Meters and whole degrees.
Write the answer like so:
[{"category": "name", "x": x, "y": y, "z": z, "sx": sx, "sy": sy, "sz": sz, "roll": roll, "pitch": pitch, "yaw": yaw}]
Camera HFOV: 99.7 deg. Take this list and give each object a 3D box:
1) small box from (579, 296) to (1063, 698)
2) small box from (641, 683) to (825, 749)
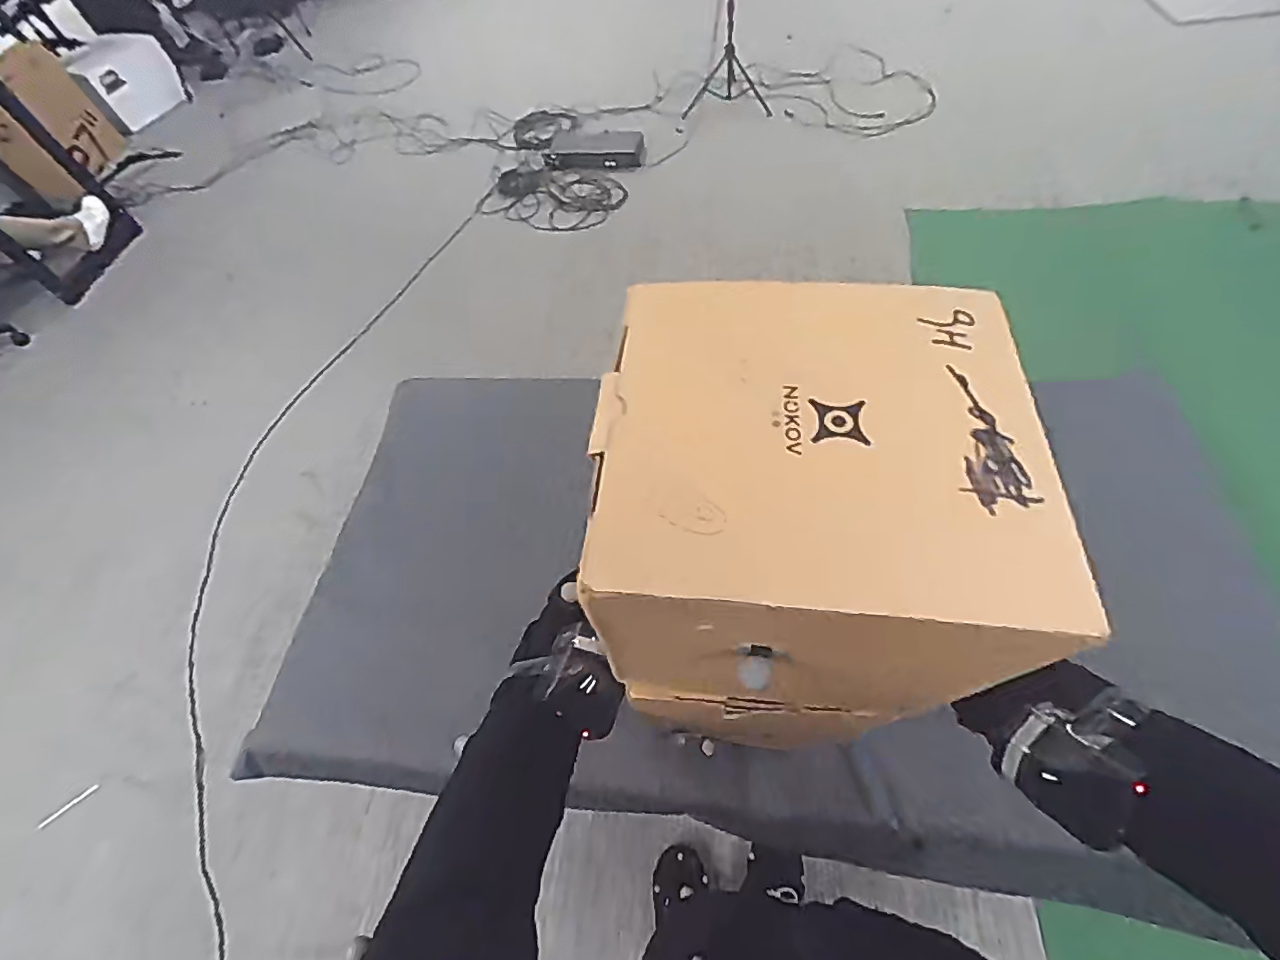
[{"category": "small box", "x": 0.073, "y": 0.018, "z": 0.305, "sx": 0.179, "sy": 0.176, "sz": 0.168, "roll": 1, "pitch": 57, "yaw": 5}, {"category": "small box", "x": 0.097, "y": 0.180, "z": 0.587, "sx": 0.168, "sy": 0.176, "sz": 0.179, "roll": 4, "pitch": 60, "yaw": 8}]
